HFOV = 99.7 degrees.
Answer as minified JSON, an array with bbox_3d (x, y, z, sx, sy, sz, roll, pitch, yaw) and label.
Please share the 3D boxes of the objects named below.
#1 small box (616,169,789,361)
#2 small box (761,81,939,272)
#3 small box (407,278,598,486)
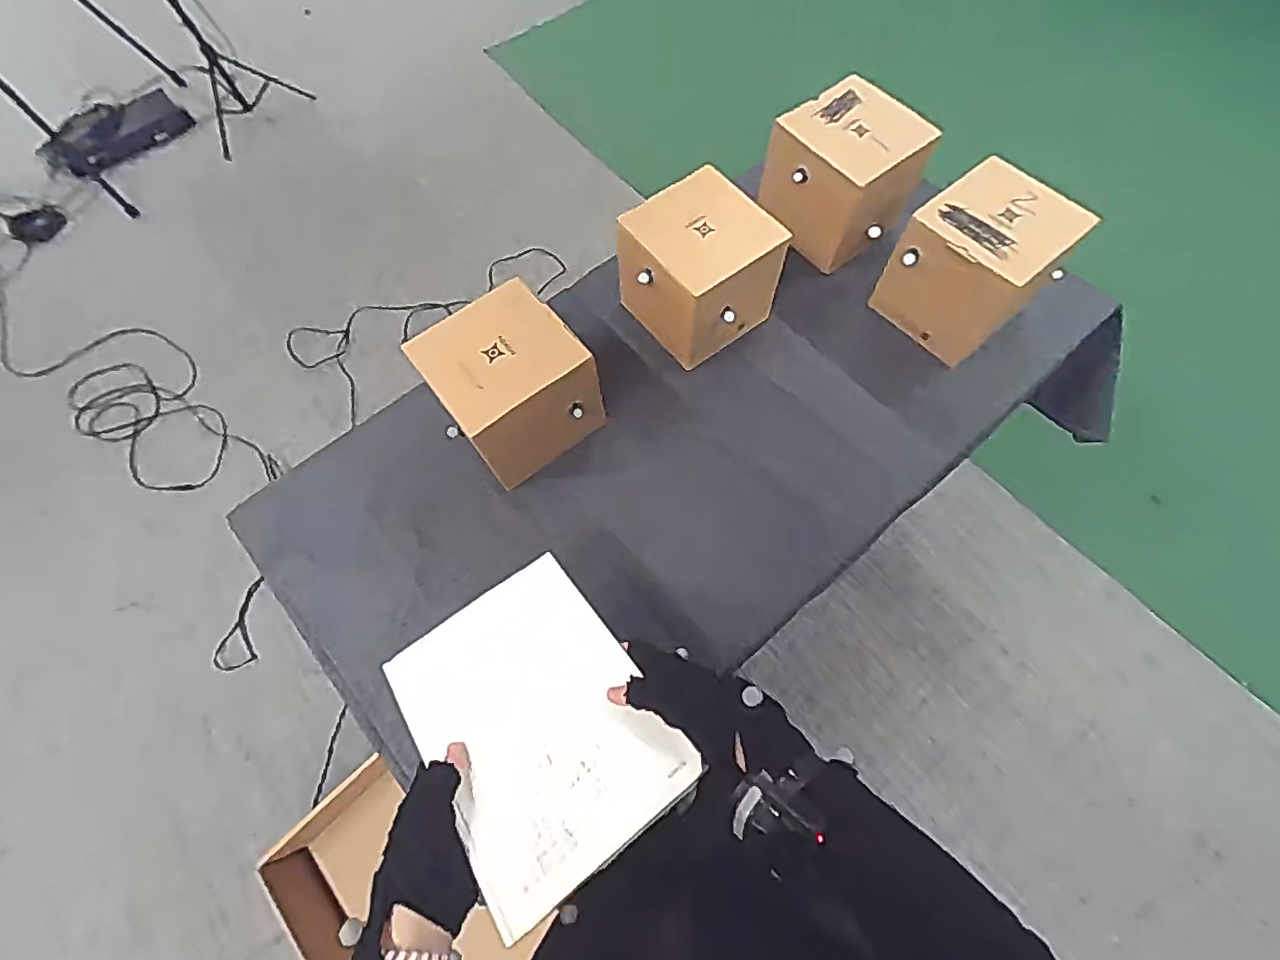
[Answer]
[{"bbox_3d":[0.086,-0.300,0.793,0.168,0.176,0.179,-35,70,-12],"label":"small box"},{"bbox_3d":[0.313,-0.470,0.852,0.168,0.176,0.179,-36,71,-12],"label":"small box"},{"bbox_3d":[-0.169,-0.124,0.725,0.179,0.176,0.168,-36,70,-14],"label":"small box"}]
